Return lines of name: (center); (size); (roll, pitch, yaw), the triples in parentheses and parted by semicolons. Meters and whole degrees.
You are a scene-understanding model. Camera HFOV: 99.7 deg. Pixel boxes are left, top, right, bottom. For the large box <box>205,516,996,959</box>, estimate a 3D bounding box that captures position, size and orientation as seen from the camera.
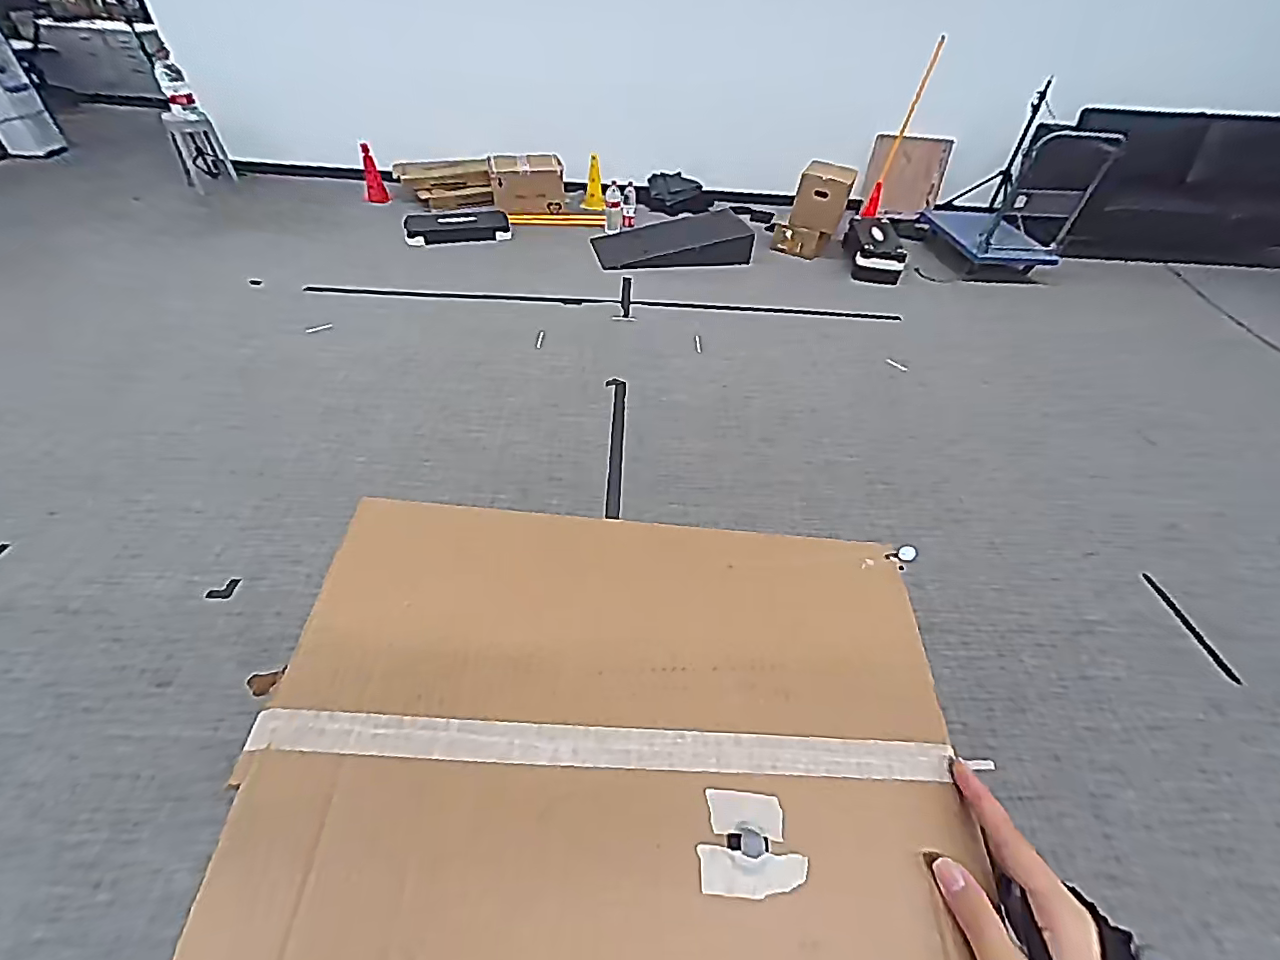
large box: (-0.025, 0.253, 0.444); (0.408, 0.320, 0.320); (6, 54, -5)
